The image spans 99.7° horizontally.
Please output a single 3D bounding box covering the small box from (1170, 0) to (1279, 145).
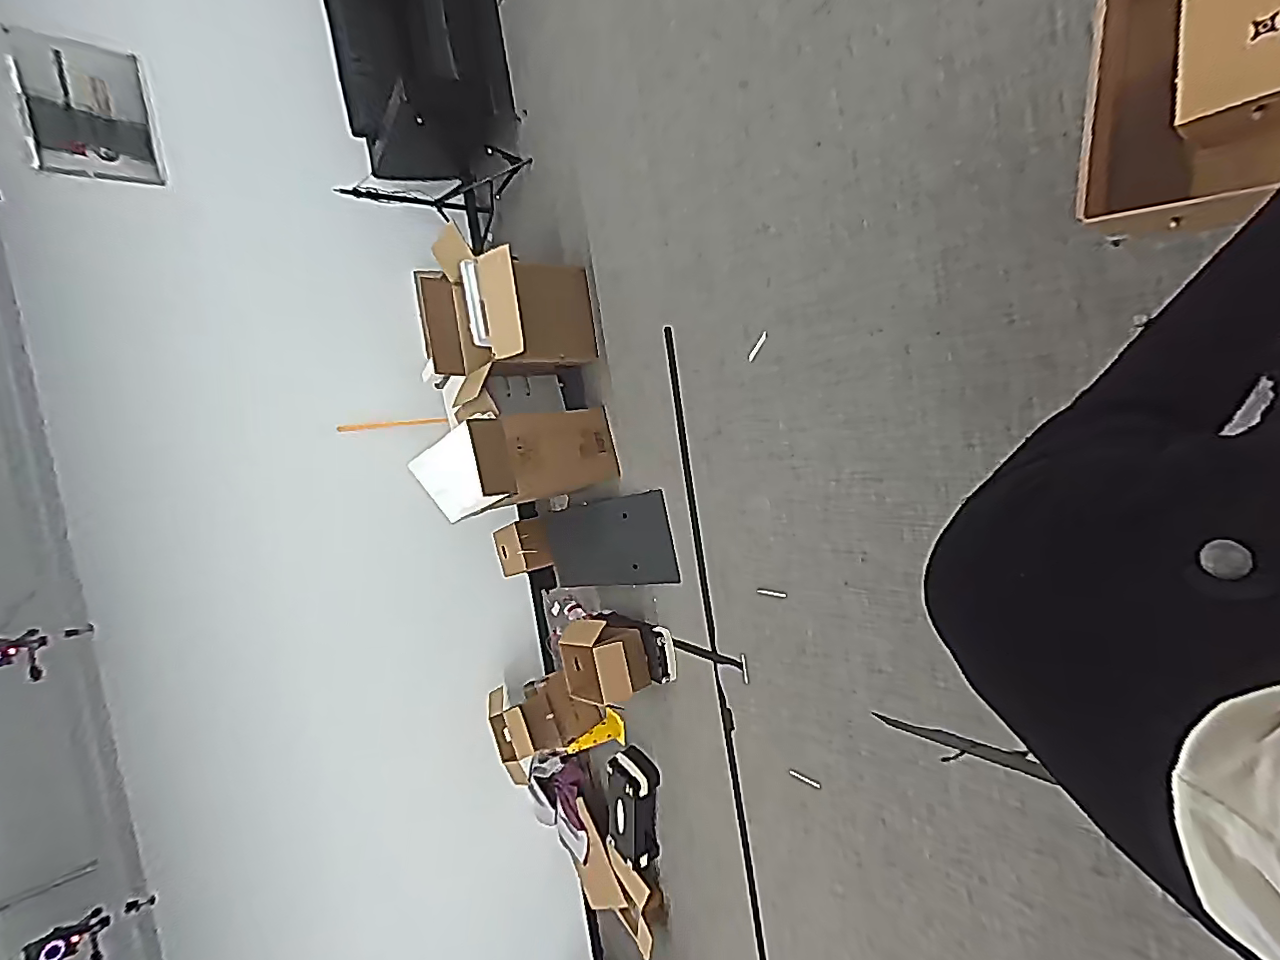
[{"bbox_3d":[0.847,-0.577,0.717,0.179,0.176,0.168,7,104,53],"label":"small box"}]
